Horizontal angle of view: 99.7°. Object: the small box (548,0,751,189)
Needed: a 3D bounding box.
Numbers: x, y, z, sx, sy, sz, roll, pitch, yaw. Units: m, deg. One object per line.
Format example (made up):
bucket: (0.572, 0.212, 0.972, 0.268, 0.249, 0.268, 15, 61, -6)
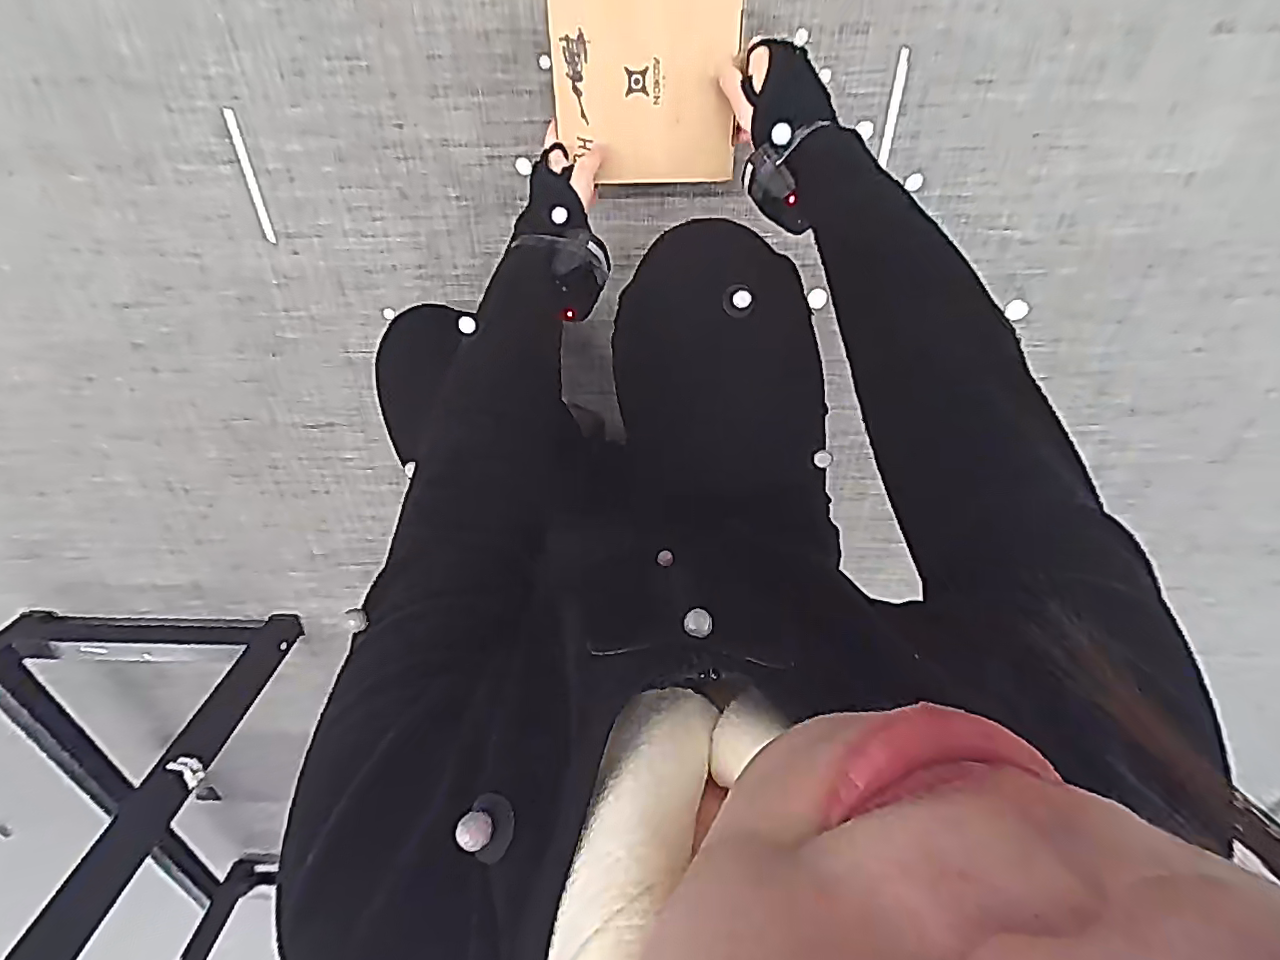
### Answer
small box: (0.006, -0.403, 0.559, 0.179, 0.176, 0.168, 0, 122, 0)
